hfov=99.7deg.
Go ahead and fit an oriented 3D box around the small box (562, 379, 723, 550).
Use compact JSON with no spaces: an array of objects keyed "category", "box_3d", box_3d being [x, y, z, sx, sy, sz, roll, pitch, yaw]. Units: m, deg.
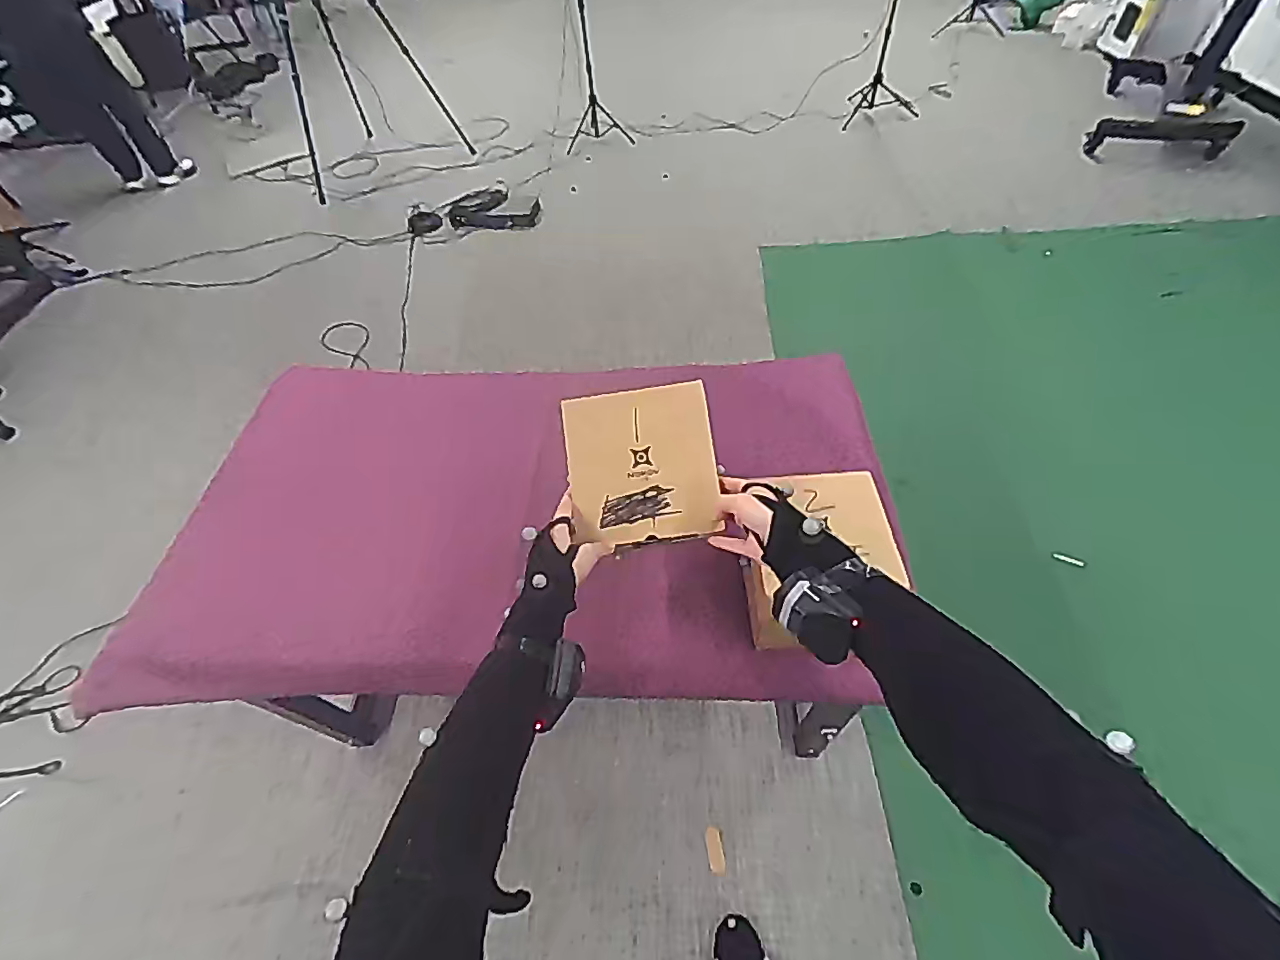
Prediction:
[{"category":"small box","box_3d":[0.007,-0.007,0.679,0.168,0.176,0.179,-8,79,2]}]
